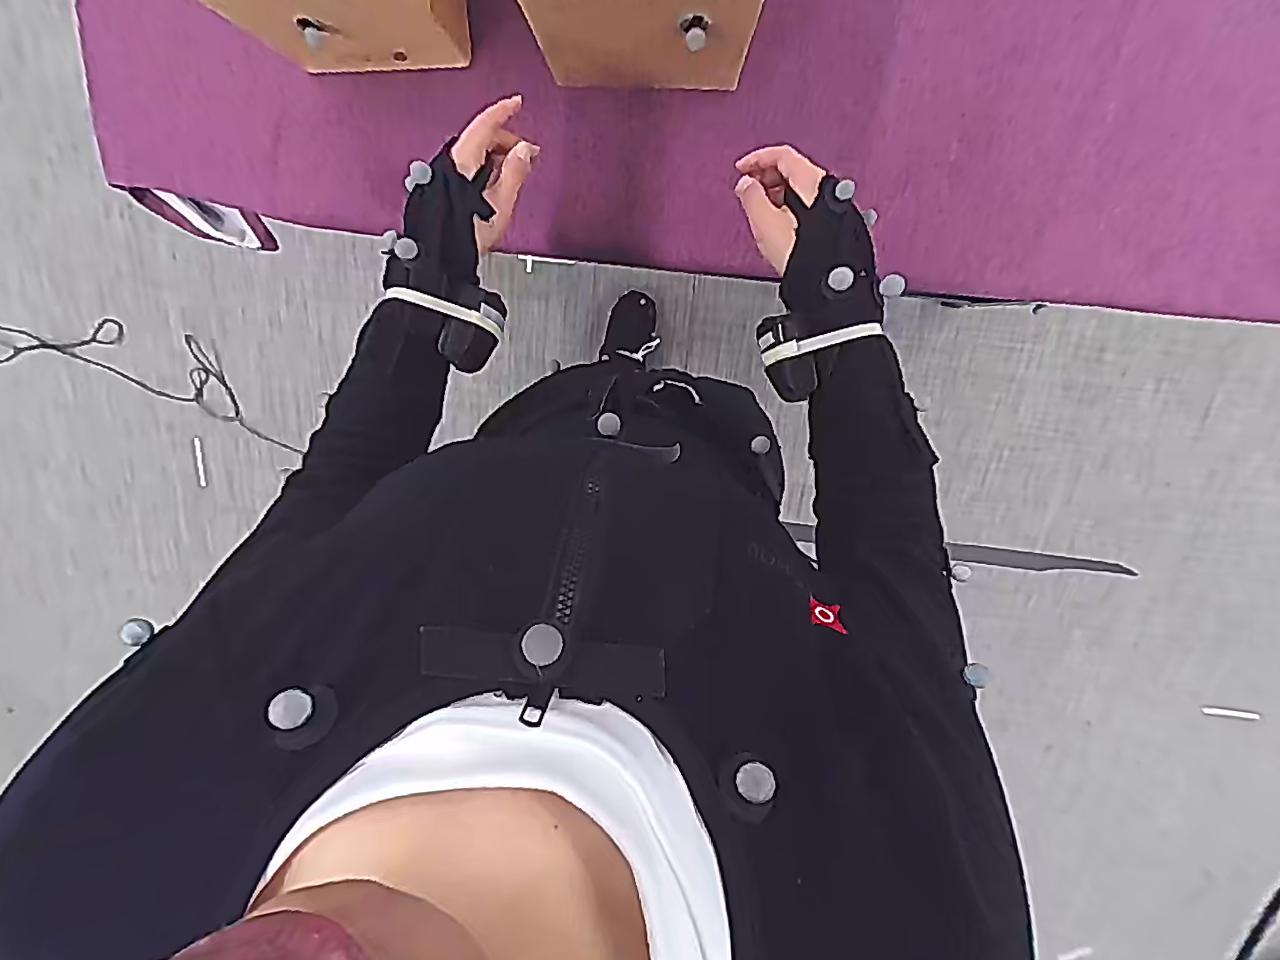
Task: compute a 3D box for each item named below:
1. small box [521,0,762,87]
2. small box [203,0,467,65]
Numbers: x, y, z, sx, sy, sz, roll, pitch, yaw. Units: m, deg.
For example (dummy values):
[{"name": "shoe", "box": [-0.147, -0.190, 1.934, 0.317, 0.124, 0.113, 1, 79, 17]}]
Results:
[{"name": "small box", "box": [0.006, -0.435, 0.420, 0.179, 0.176, 0.168, 3, 106, 2]}, {"name": "small box", "box": [-0.250, -0.459, 0.427, 0.168, 0.176, 0.179, 0, 106, 3]}]
